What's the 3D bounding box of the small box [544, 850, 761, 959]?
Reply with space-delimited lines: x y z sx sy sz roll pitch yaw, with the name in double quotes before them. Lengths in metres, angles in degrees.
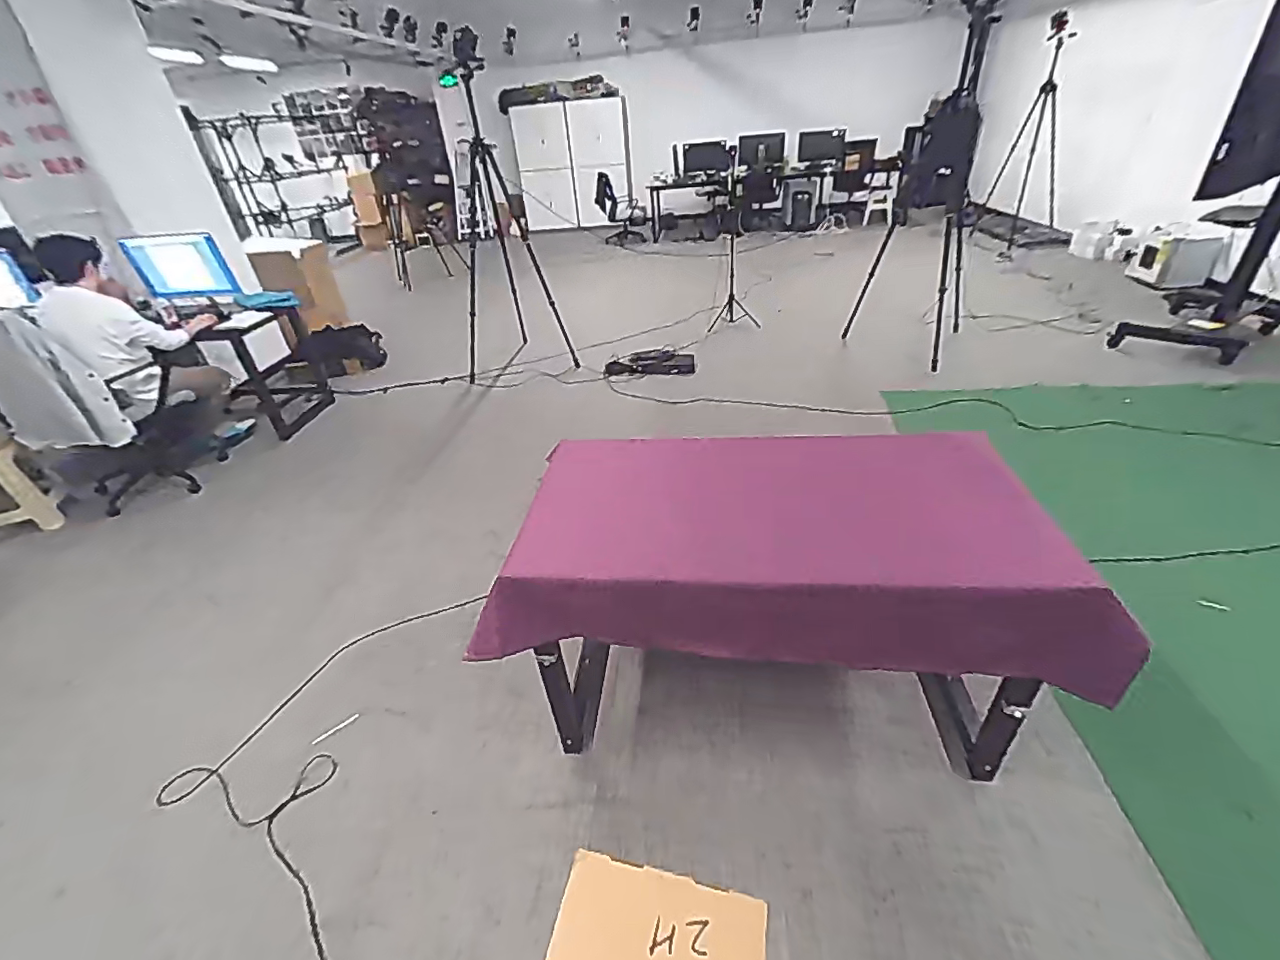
"small box" 0.007 0.458 0.455 0.168 0.176 0.179 7 41 14
